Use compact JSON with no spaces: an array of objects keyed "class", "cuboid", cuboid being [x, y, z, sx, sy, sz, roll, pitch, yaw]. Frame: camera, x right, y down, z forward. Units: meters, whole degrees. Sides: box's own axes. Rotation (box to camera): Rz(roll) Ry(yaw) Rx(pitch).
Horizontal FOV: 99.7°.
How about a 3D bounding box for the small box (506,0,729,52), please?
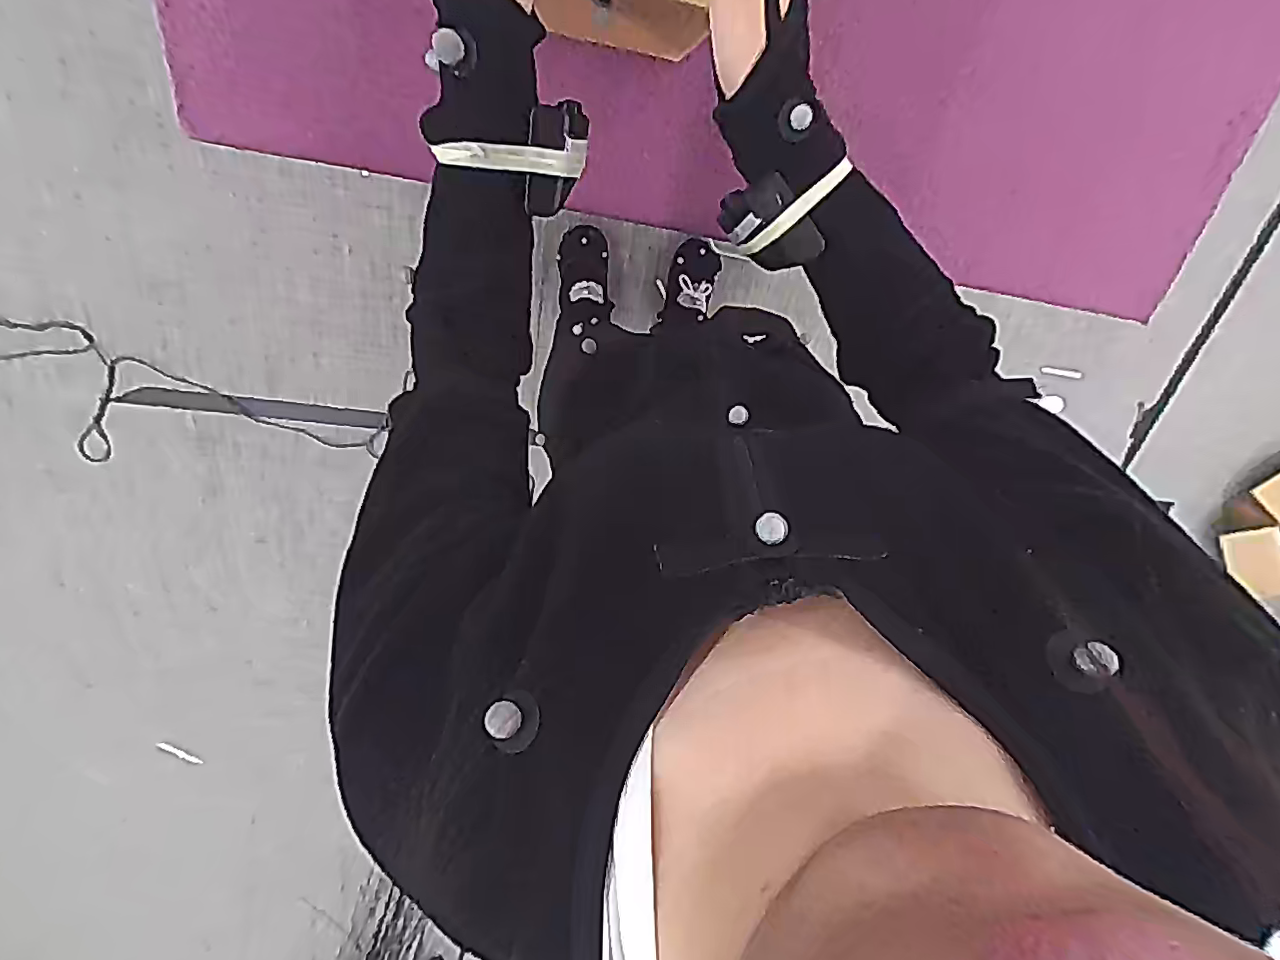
[{"class":"small box","cuboid":[-0.018,-0.471,0.431,0.179,0.176,0.168,4,117,-12]}]
